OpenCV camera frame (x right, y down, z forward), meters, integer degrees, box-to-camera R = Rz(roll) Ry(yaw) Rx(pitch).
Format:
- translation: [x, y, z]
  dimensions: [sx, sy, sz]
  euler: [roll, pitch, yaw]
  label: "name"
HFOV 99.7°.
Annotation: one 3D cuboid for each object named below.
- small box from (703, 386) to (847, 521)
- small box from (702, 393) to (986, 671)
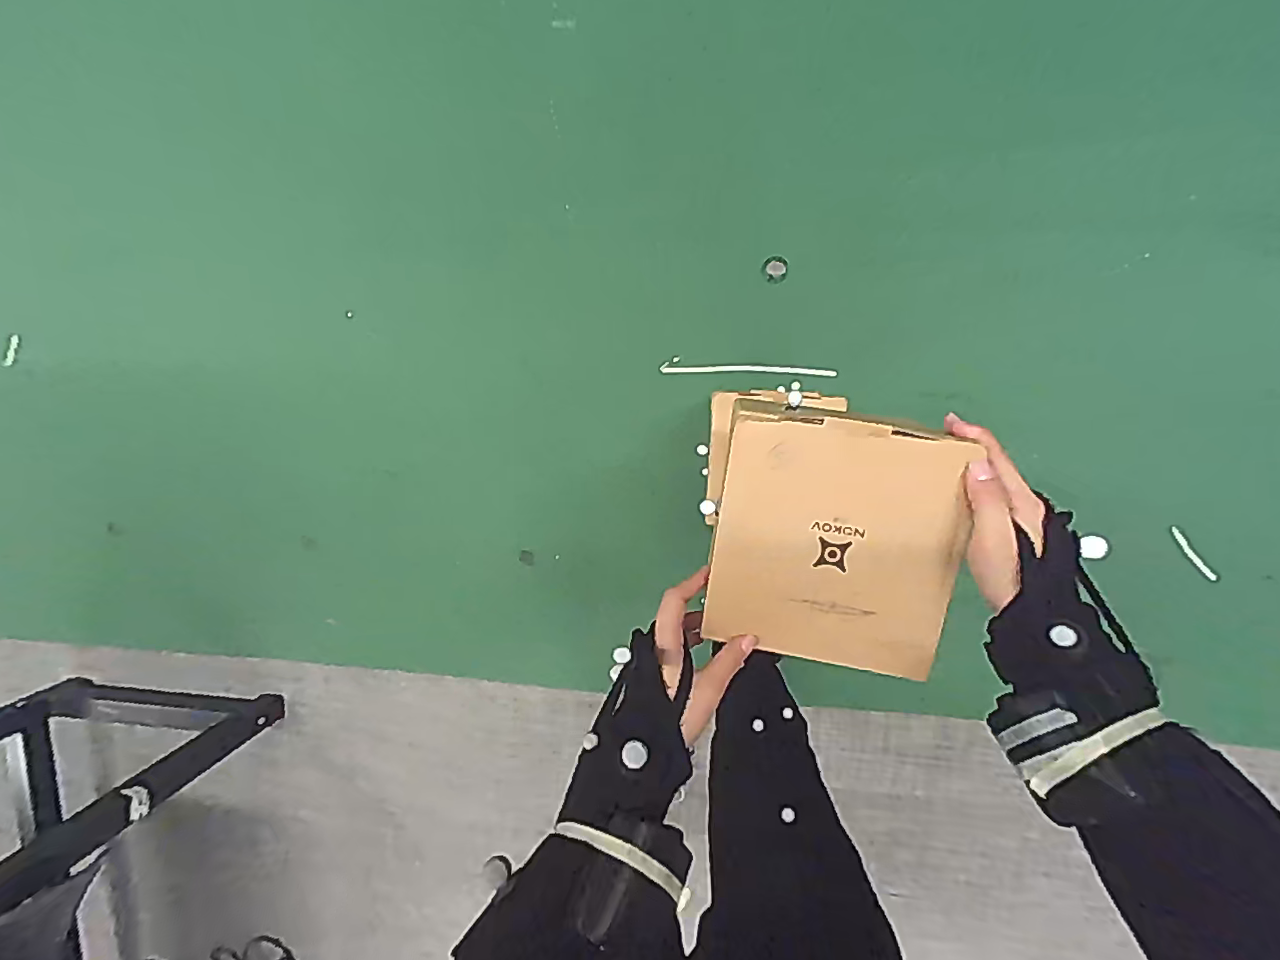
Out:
- translation: [0.180, -0.039, 0.759]
  dimensions: [0.168, 0.176, 0.179]
  euler: [4, 99, 8]
  label: "small box"
- translation: [0.148, 0.024, 0.454]
  dimensions: [0.168, 0.176, 0.179]
  euler: [8, 104, 9]
  label: "small box"
